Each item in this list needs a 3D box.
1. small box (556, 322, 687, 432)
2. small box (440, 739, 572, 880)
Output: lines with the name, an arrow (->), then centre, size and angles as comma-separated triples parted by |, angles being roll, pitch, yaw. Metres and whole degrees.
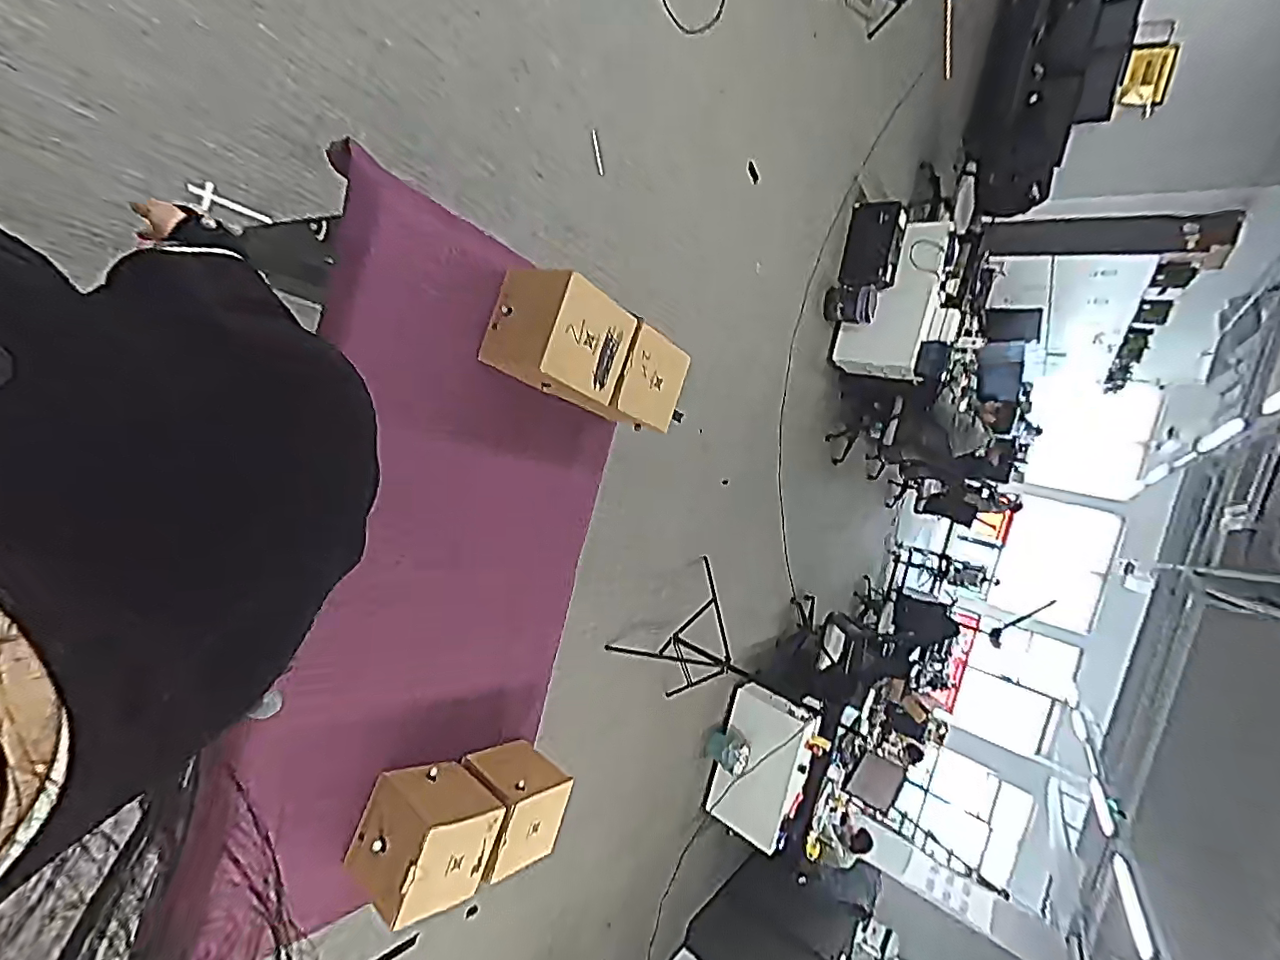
small box -> -0.037, -0.211, 1.097 | 0.179, 0.176, 0.168 | 19, 88, -53
small box -> -0.280, 0.674, 1.134 | 0.179, 0.176, 0.168 | 19, 89, -55
